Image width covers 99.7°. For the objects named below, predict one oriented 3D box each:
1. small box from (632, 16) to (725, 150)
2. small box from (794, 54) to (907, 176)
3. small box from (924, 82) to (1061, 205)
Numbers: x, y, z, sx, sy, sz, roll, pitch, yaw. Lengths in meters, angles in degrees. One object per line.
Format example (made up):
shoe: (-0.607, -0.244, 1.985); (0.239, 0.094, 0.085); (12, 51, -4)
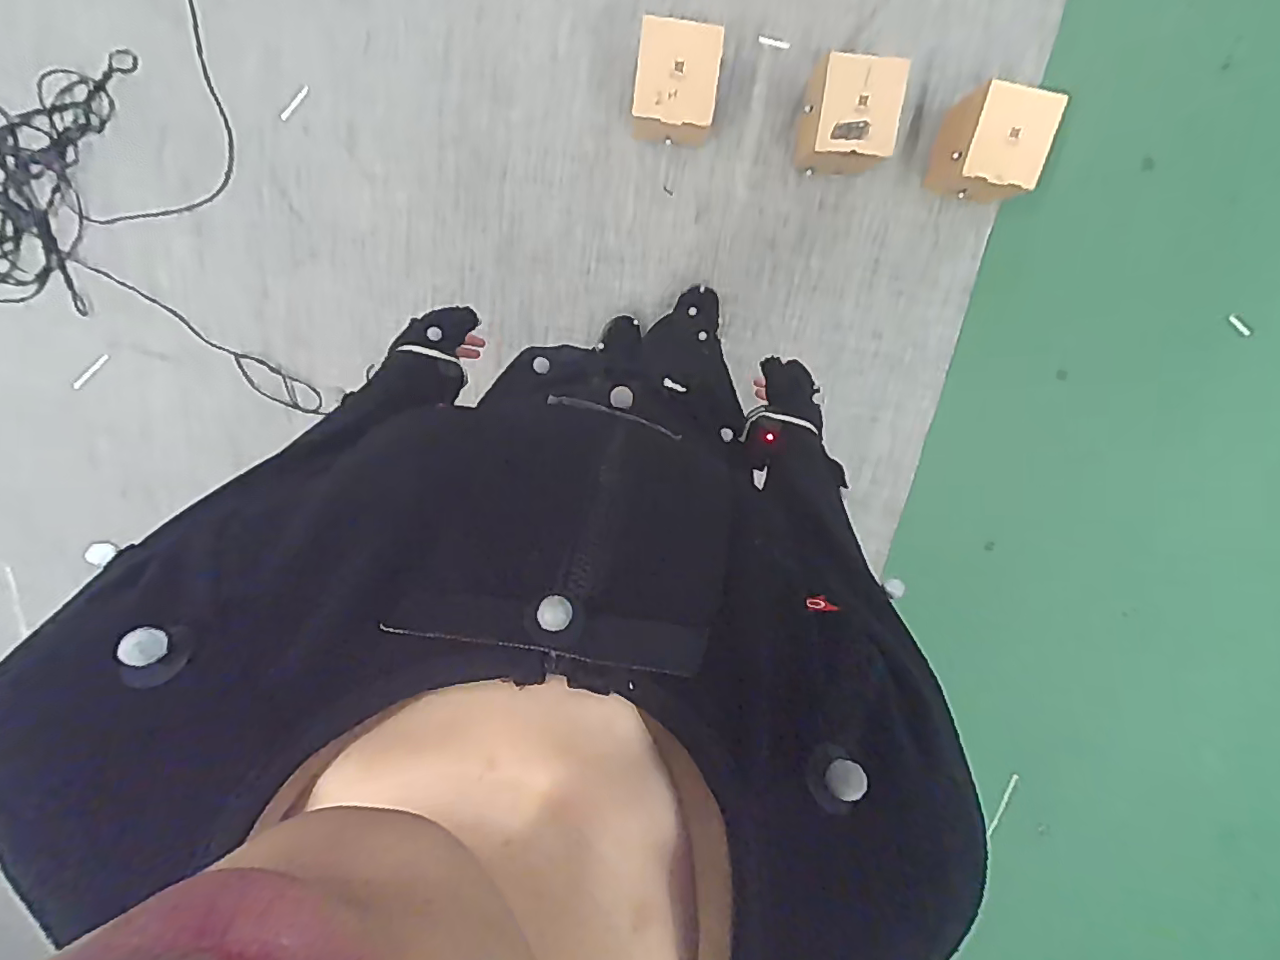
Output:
small box: (0.076, -0.837, 1.158); (0.168, 0.176, 0.179); (7, 108, -1)
small box: (0.446, -0.782, 1.179); (0.168, 0.176, 0.179); (5, 106, -2)
small box: (0.766, -0.733, 1.197); (0.168, 0.176, 0.179); (10, 107, -3)
